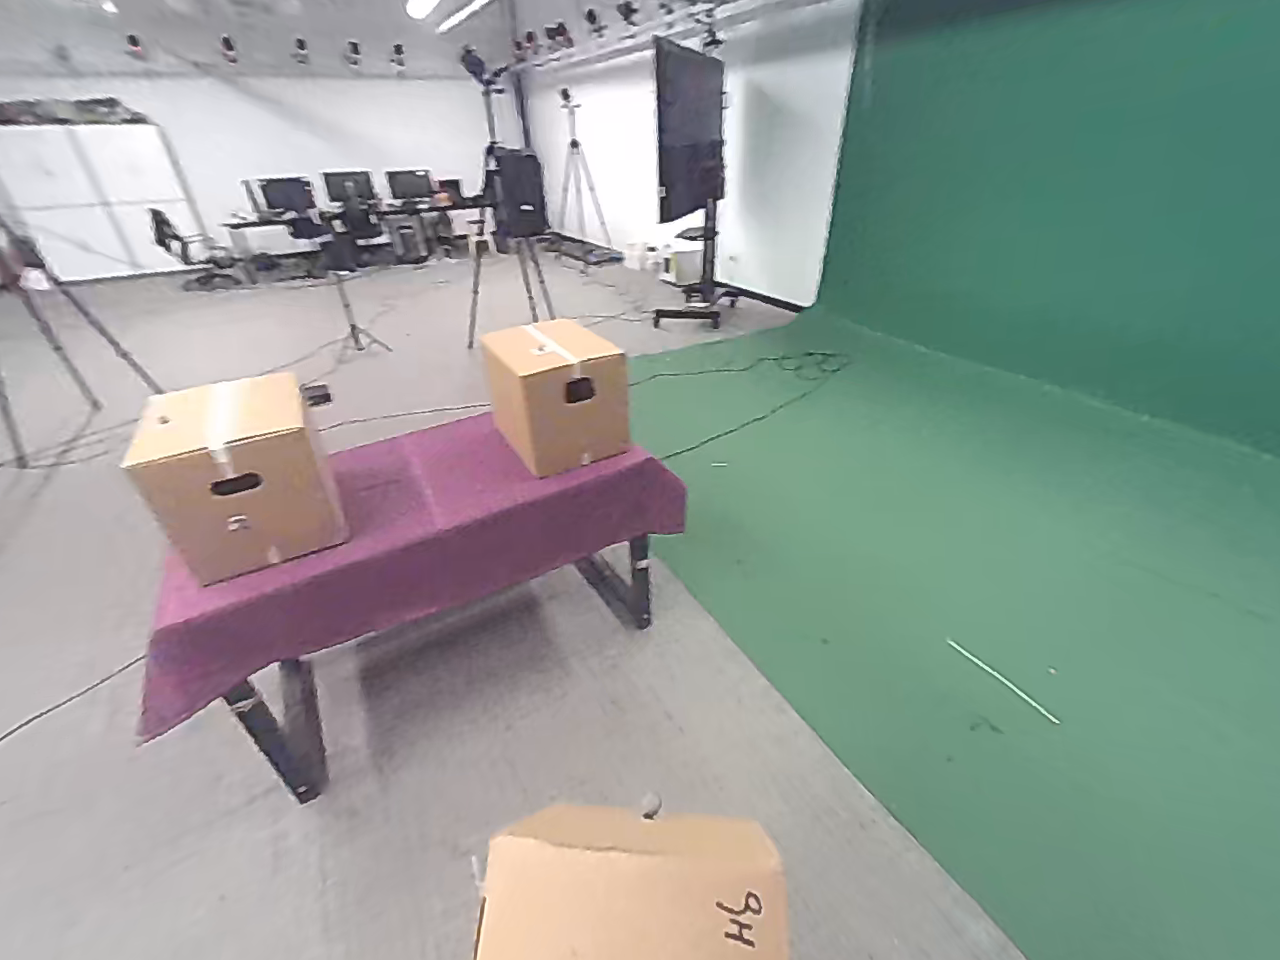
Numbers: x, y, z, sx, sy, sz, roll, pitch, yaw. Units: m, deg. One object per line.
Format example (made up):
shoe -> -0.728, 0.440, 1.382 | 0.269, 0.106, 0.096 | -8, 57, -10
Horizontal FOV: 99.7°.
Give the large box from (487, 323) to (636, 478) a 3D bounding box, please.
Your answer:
large box -> -0.242, -0.260, 1.658 | 0.320, 0.320, 0.408 | -18, 37, -24
